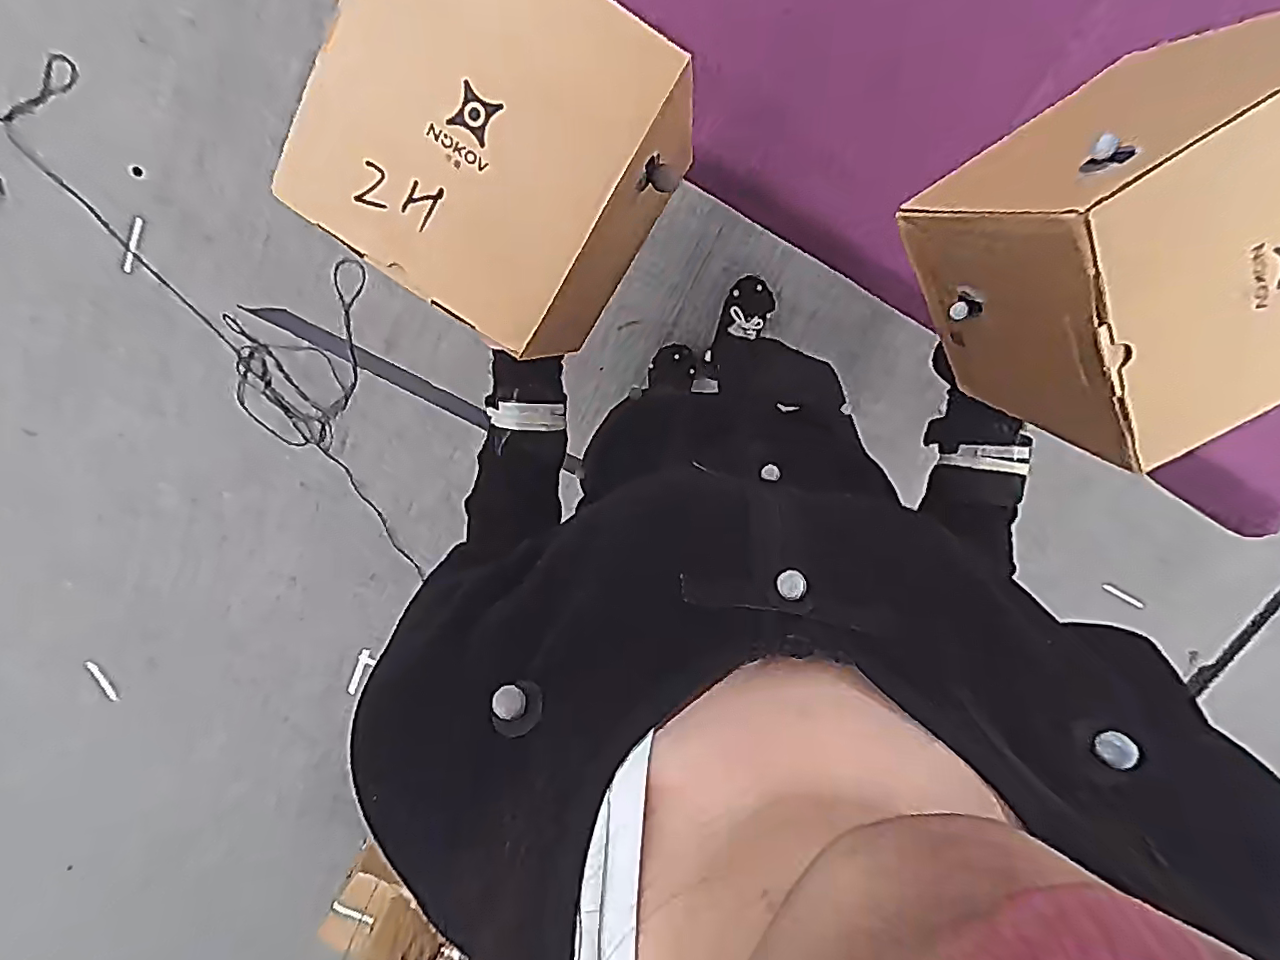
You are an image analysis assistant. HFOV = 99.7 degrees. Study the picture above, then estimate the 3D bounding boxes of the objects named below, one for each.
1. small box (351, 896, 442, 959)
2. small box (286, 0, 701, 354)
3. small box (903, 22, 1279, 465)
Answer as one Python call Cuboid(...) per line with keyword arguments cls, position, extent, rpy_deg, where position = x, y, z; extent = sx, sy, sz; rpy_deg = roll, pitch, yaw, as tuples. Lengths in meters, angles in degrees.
Cuboid(cls="small box", position=(-0.685, 1.313, 1.502), extent=(0.179, 0.176, 0.168), rpy_deg=(34, 103, -10))
Cuboid(cls="small box", position=(-0.077, -0.205, 0.359), extent=(0.168, 0.176, 0.179), rpy_deg=(33, 106, -3))
Cuboid(cls="small box", position=(0.308, -0.147, 0.339), extent=(0.179, 0.176, 0.168), rpy_deg=(-32, 116, 11))
